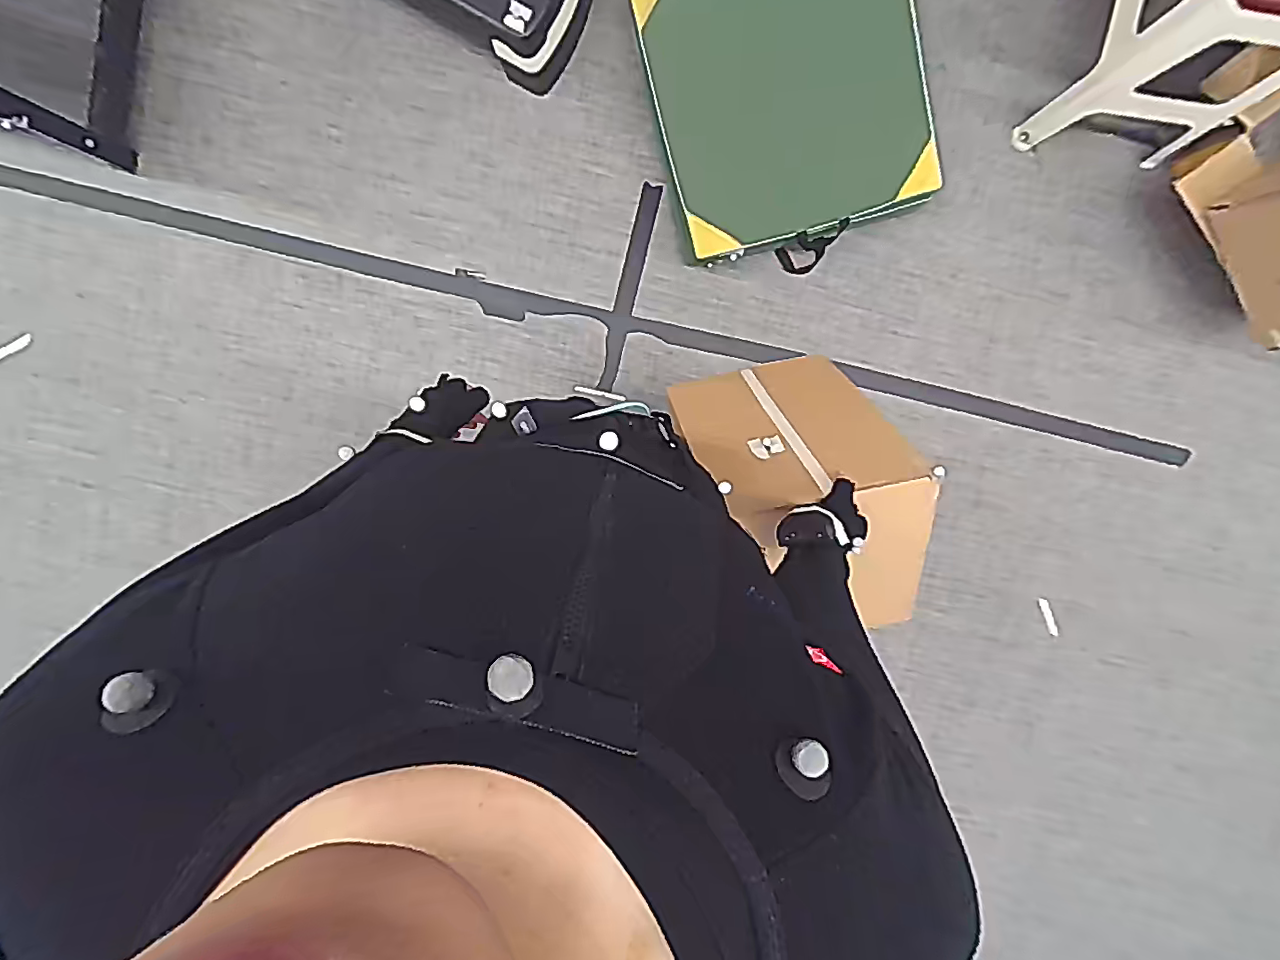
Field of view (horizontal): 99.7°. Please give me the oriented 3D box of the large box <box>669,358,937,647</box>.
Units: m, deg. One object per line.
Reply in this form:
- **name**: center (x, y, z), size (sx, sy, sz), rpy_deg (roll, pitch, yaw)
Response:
- **large box**: center (0.257, 0.025, 0.989), size (0.320, 0.408, 0.320), rpy_deg (-13, 128, 0)
